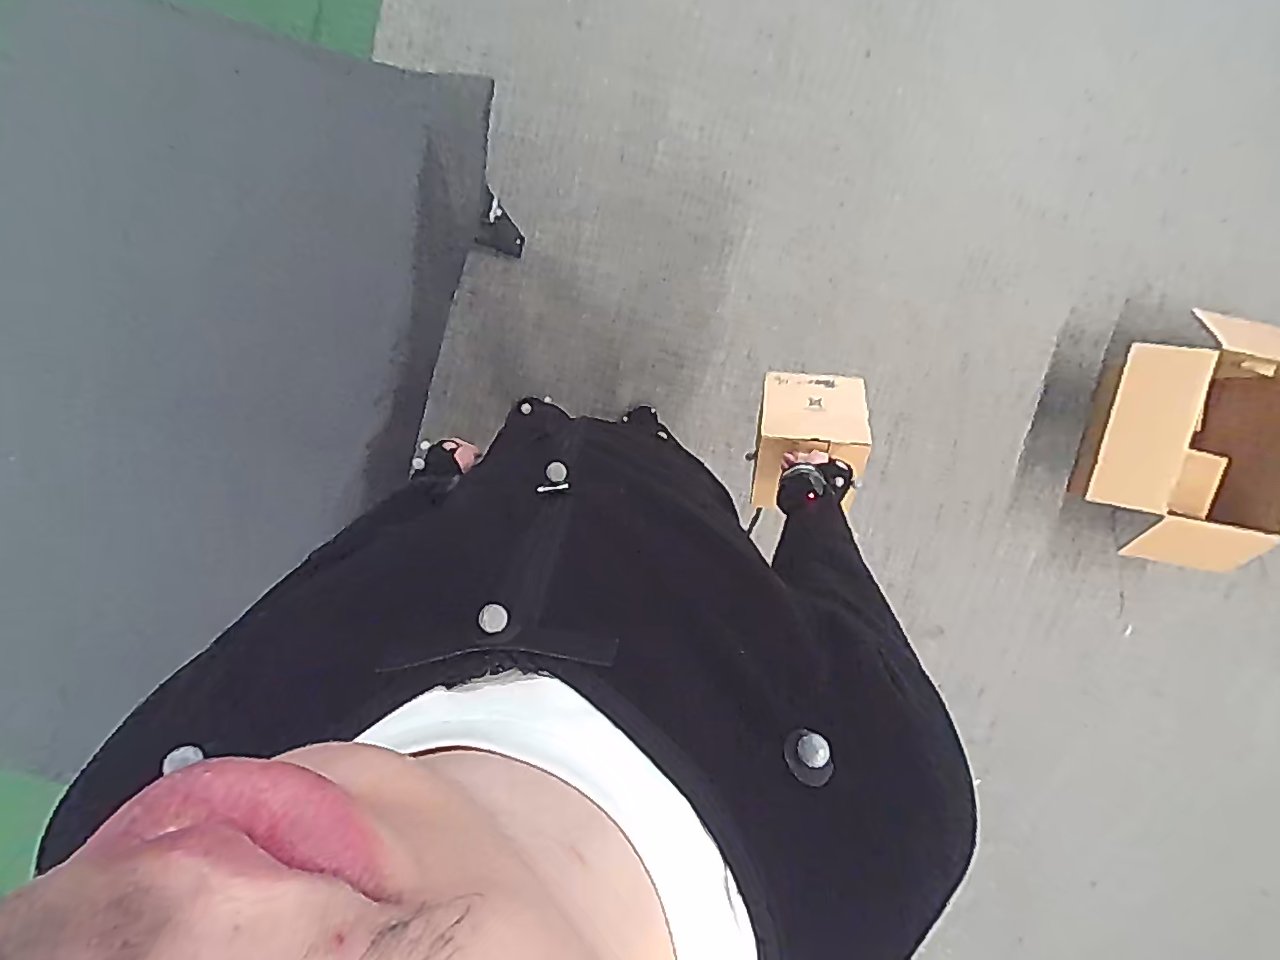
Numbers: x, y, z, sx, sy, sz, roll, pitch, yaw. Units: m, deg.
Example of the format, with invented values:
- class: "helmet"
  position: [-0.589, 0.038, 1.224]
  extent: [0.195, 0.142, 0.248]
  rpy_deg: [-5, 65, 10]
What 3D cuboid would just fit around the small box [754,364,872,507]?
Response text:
- class: "small box"
  position: [0.291, -0.074, 0.933]
  extent: [0.168, 0.179, 0.176]
  rpy_deg: [7, 140, 10]
